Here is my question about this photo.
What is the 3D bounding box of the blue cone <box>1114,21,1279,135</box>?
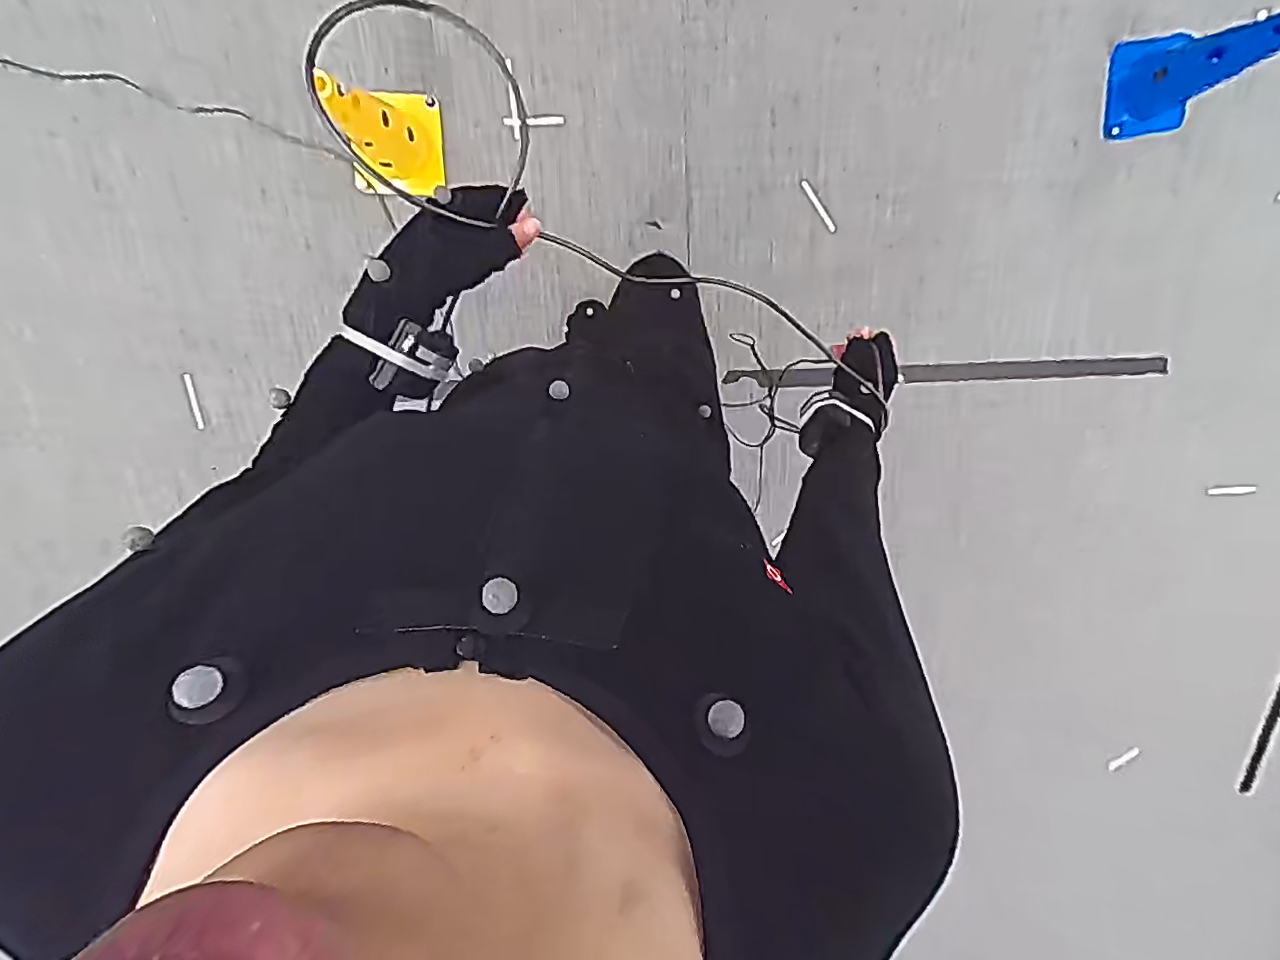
[{"bbox_3d":[1.215,-0.874,1.104,0.193,0.380,0.192,-8,108,-1],"label":"blue cone"}]
